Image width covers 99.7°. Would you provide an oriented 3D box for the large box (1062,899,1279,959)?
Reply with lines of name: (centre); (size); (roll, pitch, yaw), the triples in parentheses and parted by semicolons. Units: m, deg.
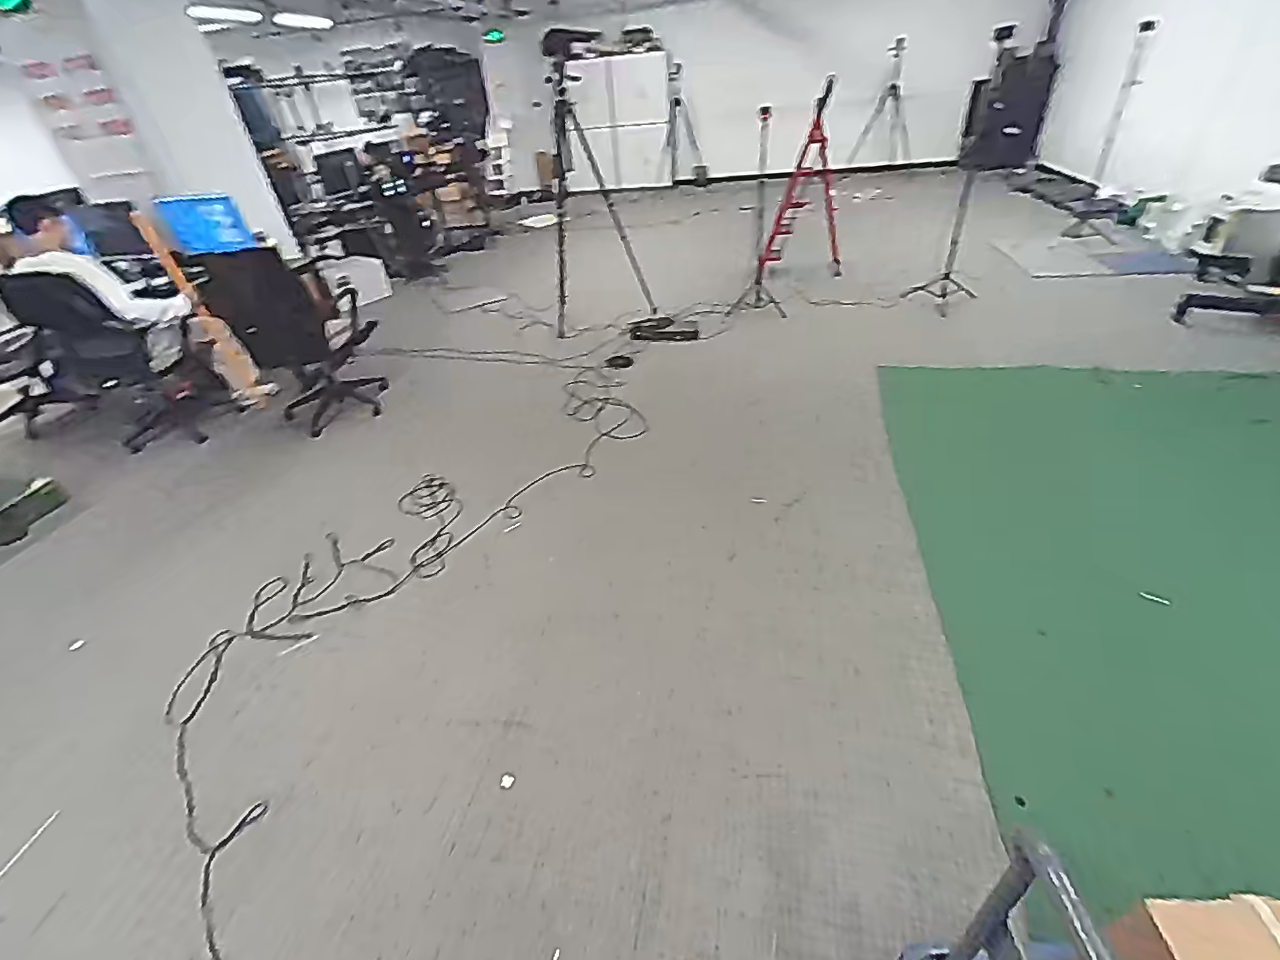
large box: (0.907, 0.872, 0.747); (0.320, 0.320, 0.408); (-3, 36, 6)
